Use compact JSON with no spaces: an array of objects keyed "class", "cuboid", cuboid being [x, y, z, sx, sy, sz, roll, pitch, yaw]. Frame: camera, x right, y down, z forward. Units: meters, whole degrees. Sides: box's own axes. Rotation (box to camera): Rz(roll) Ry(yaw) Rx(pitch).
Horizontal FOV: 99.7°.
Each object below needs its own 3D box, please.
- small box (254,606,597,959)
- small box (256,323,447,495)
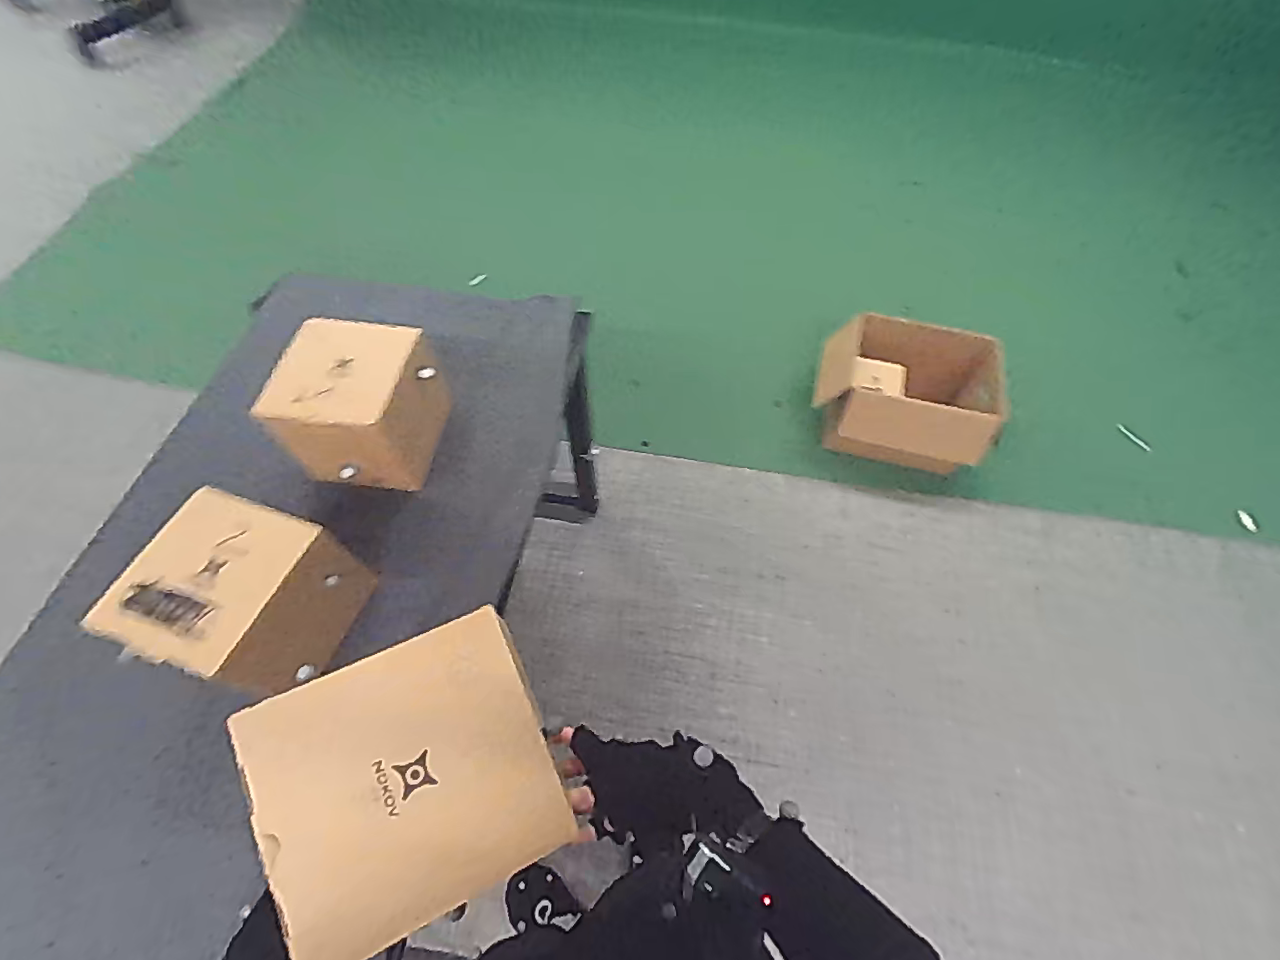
[{"class":"small box","cuboid":[-0.150,0.211,0.423,0.179,0.176,0.168,-21,77,-16]},{"class":"small box","cuboid":[-0.402,-0.101,0.796,0.168,0.176,0.179,6,59,3]}]
